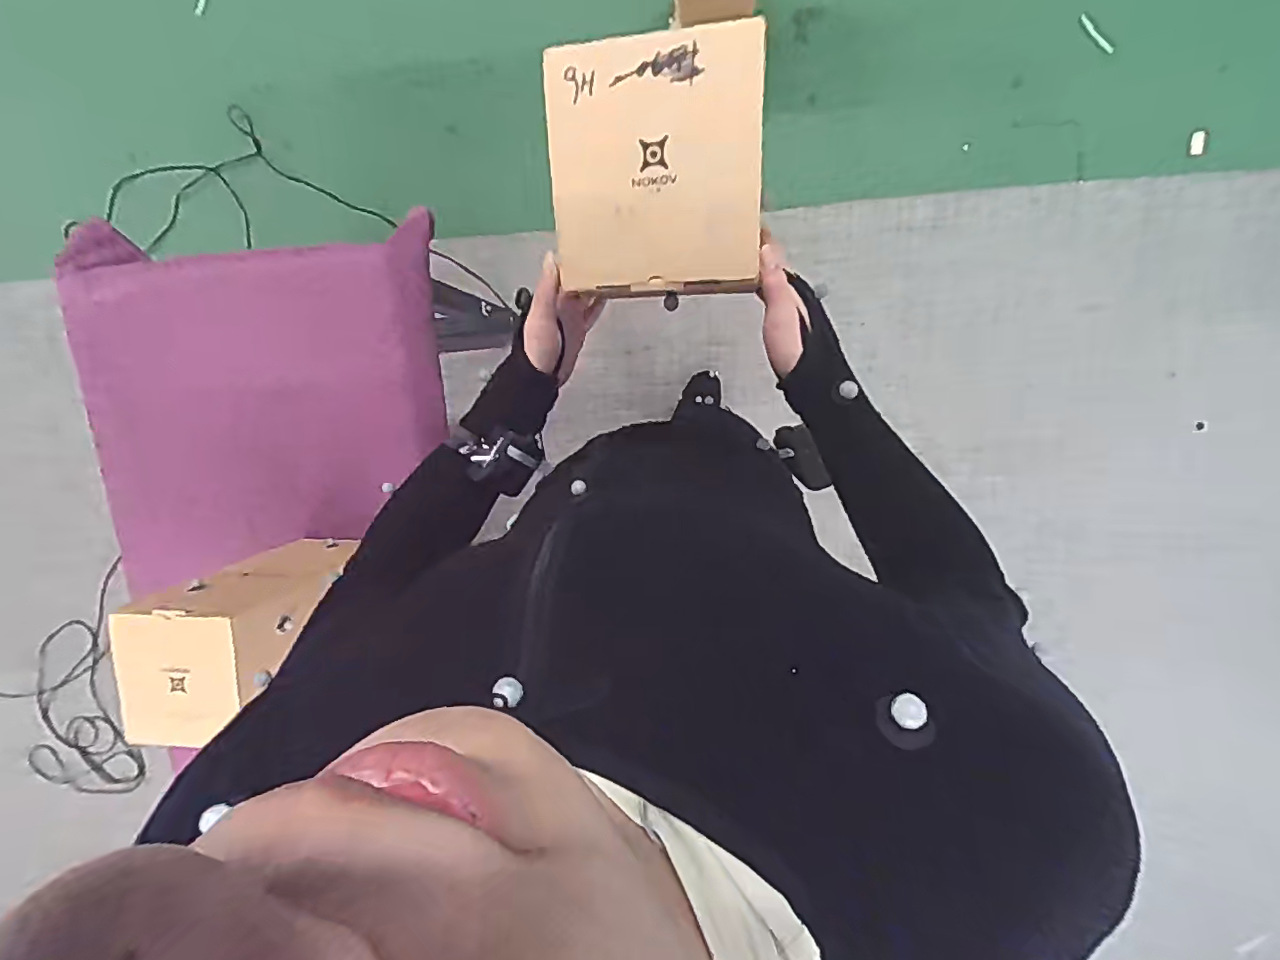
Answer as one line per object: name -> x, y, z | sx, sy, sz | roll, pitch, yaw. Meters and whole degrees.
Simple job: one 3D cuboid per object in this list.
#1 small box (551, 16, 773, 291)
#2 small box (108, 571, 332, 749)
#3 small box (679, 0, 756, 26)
small box -> 0.030, -0.266, 0.489 | 0.168, 0.176, 0.179 | 2, 107, 11
small box -> -0.549, 0.229, 0.731 | 0.168, 0.176, 0.179 | 1, 99, 6
small box -> 0.168, -1.140, 1.182 | 0.179, 0.176, 0.168 | -5, 99, 8
